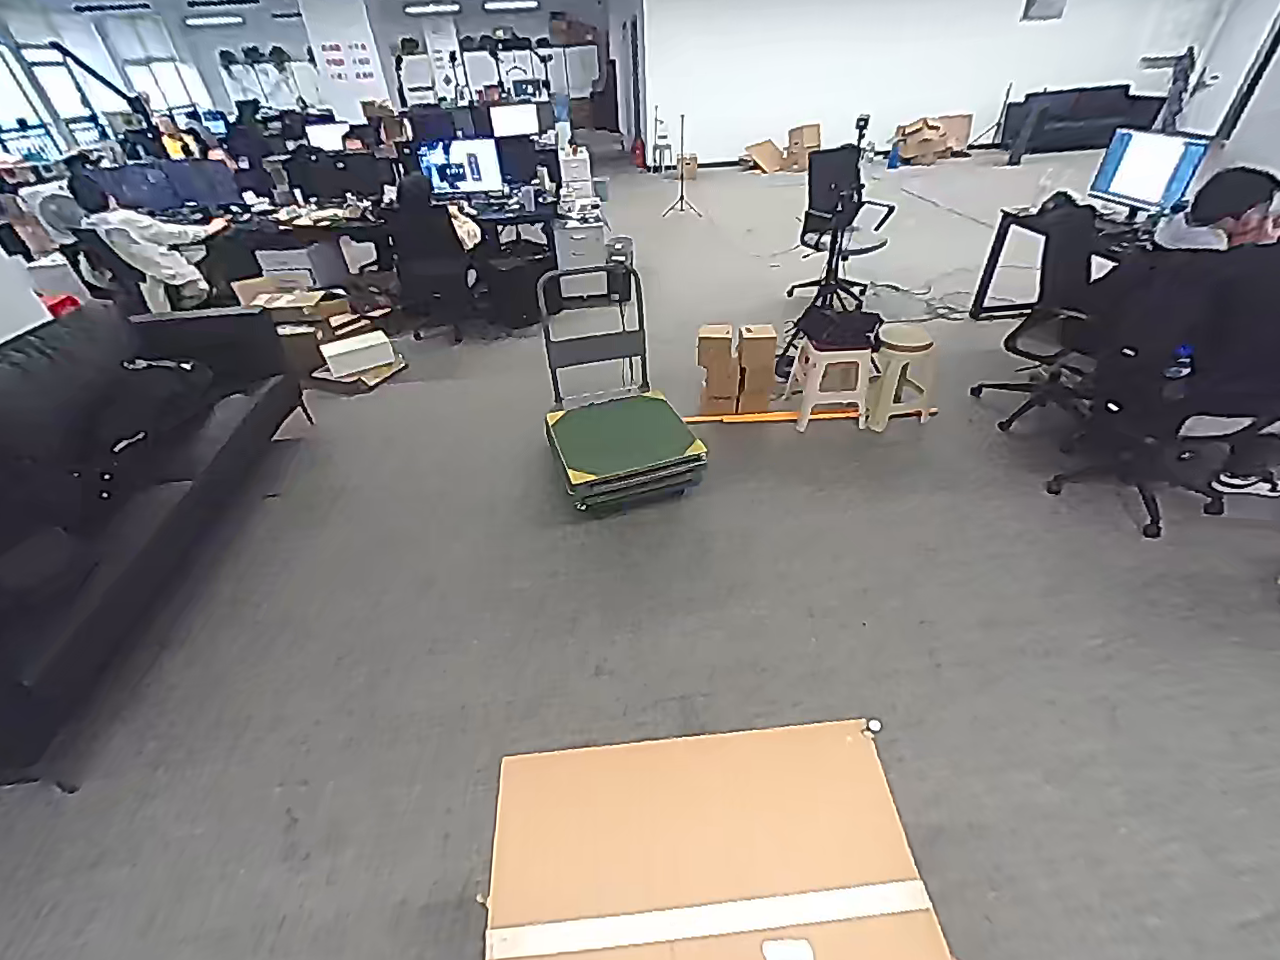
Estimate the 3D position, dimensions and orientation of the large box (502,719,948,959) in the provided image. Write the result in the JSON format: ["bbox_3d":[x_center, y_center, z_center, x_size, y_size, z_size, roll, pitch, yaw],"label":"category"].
[{"bbox_3d":[0.076,0.504,0.613,0.408,0.320,0.320,-6,49,-1],"label":"large box"}]
